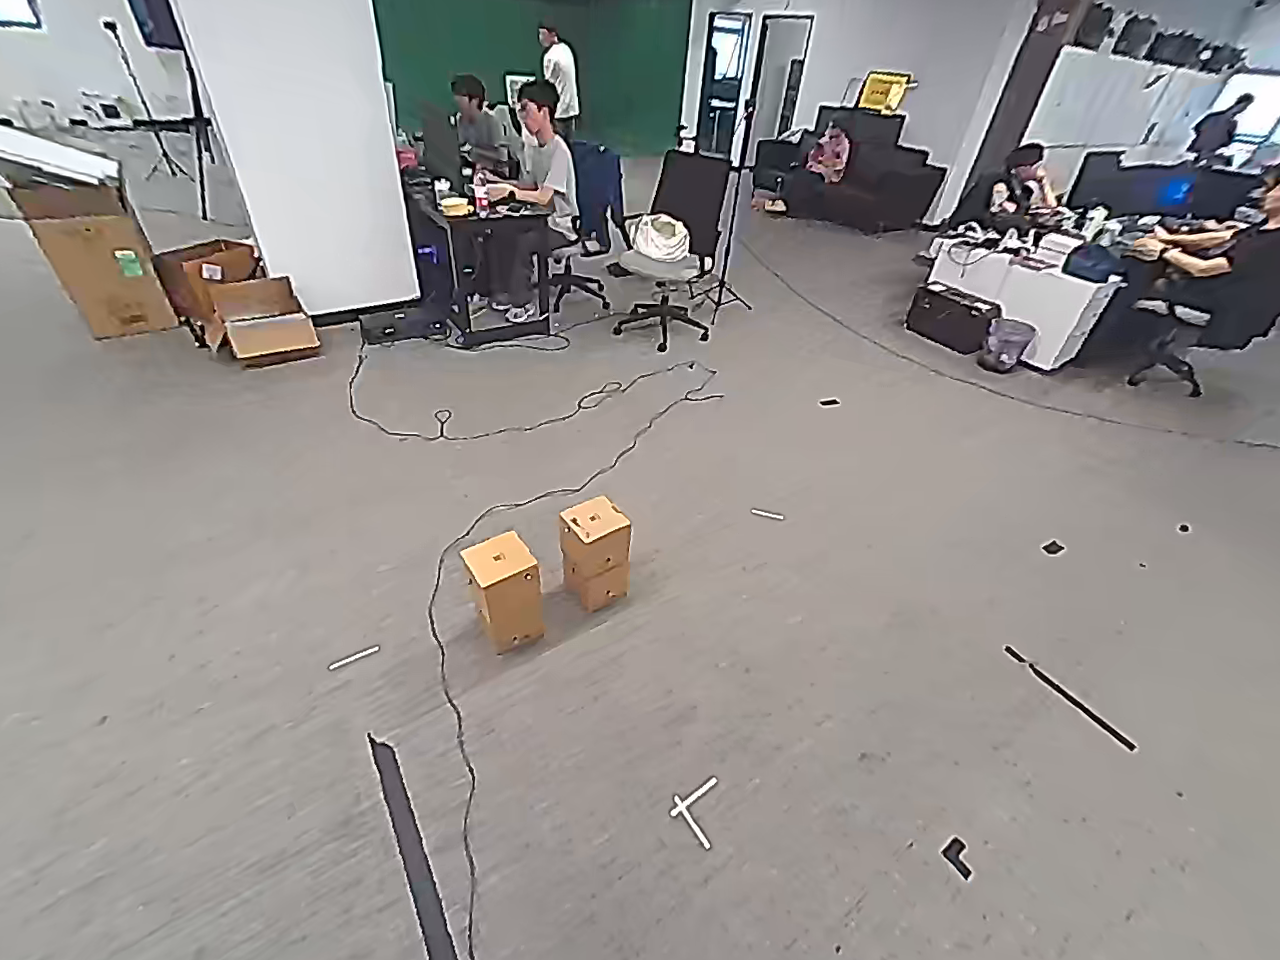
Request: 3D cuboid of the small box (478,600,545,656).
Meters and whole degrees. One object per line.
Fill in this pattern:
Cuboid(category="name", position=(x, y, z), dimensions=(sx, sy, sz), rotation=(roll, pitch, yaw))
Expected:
Cuboid(category="small box", position=(-0.413, 0.422, 1.724), dimensions=(0.168, 0.176, 0.179), rotation=(-19, 45, -26))

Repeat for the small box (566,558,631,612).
Cuboid(category="small box", position=(-0.150, 0.322, 1.877), dimensions=(0.168, 0.176, 0.179), rotation=(-22, 46, -29))

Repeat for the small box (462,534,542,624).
Cuboid(category="small box", position=(-0.409, 0.298, 1.619), dimensions=(0.179, 0.176, 0.168), rotation=(-22, 46, -29))

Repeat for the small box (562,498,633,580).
Cuboid(category="small box", position=(-0.144, 0.194, 1.773), dimensions=(0.179, 0.176, 0.168), rotation=(-21, 45, -30))
